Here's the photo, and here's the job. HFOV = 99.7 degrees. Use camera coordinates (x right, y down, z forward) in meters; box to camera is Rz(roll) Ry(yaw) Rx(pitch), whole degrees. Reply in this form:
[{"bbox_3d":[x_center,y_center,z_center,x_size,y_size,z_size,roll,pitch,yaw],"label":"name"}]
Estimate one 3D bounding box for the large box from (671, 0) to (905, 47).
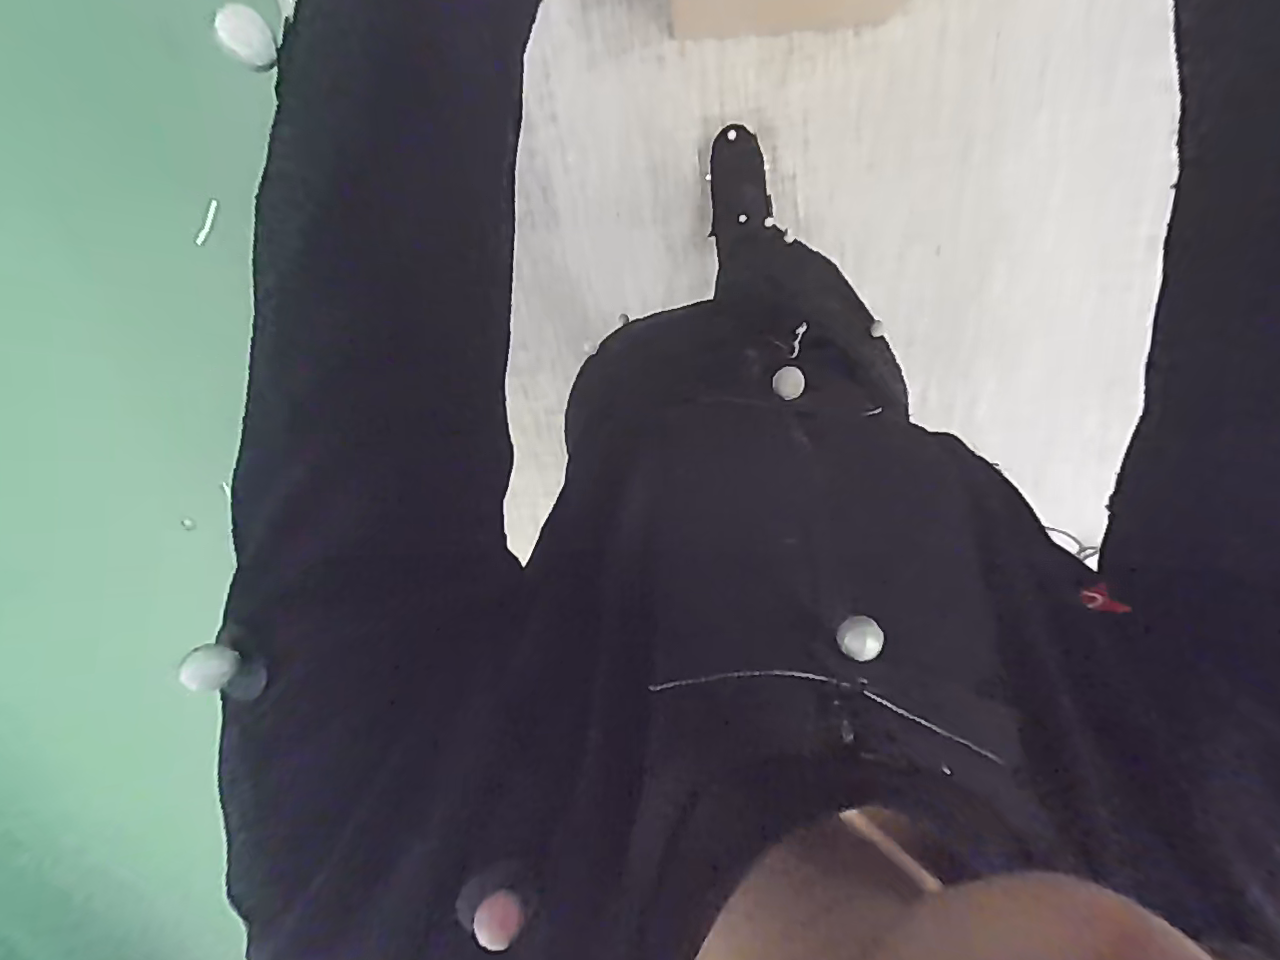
[{"bbox_3d":[0.238,-0.909,0.815,0.408,0.320,0.320,-2,115,5],"label":"large box"}]
